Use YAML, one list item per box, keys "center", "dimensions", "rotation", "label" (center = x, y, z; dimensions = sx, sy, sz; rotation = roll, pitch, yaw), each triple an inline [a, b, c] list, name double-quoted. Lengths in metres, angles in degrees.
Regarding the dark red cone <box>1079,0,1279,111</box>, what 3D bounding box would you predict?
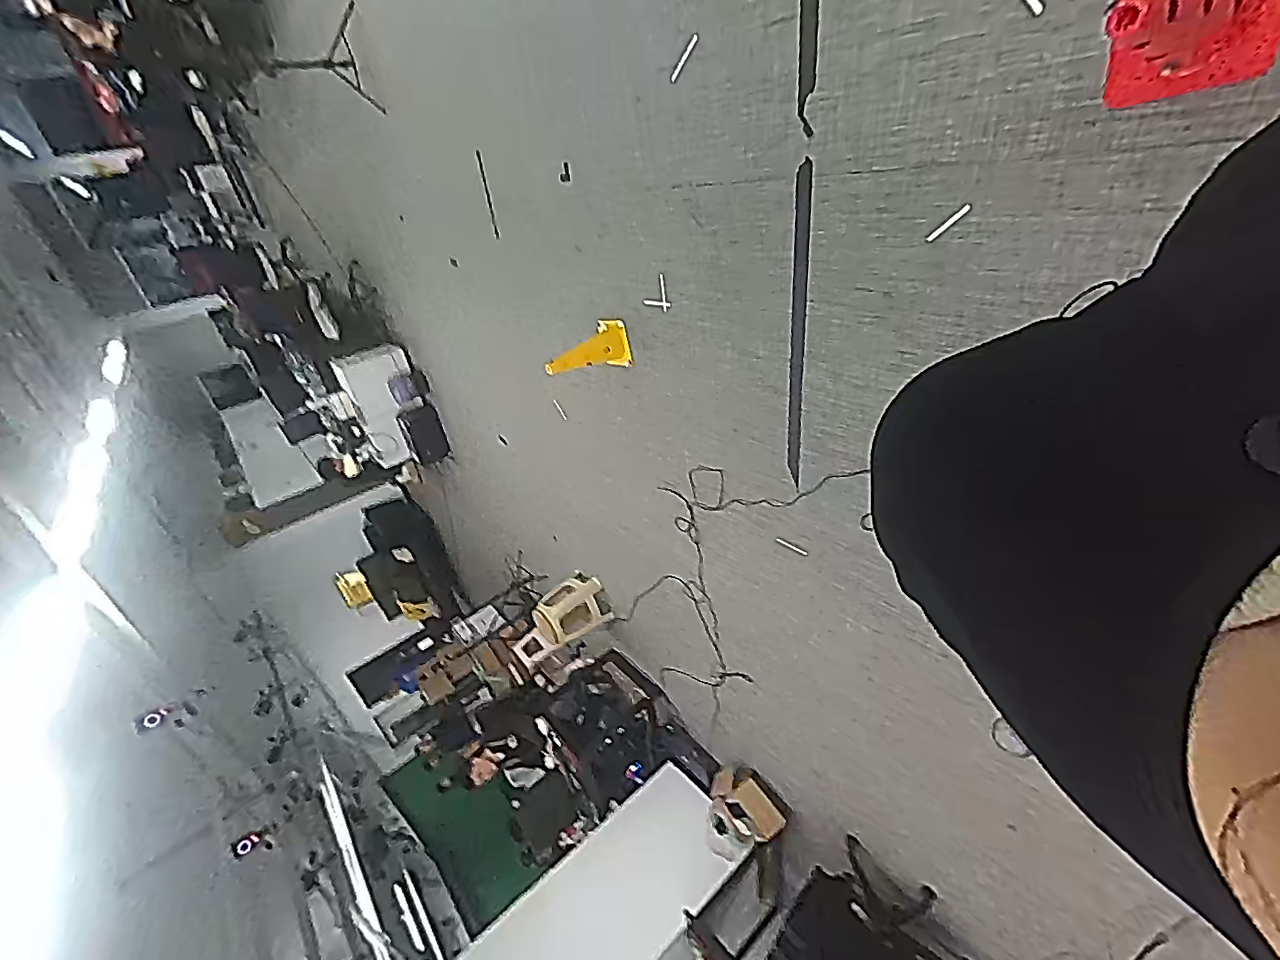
- center: [0.696, -0.626, 0.736]
  dimensions: [0.201, 0.394, 0.202]
  rotation: [21, 132, 50]
  label: "dark red cone"
